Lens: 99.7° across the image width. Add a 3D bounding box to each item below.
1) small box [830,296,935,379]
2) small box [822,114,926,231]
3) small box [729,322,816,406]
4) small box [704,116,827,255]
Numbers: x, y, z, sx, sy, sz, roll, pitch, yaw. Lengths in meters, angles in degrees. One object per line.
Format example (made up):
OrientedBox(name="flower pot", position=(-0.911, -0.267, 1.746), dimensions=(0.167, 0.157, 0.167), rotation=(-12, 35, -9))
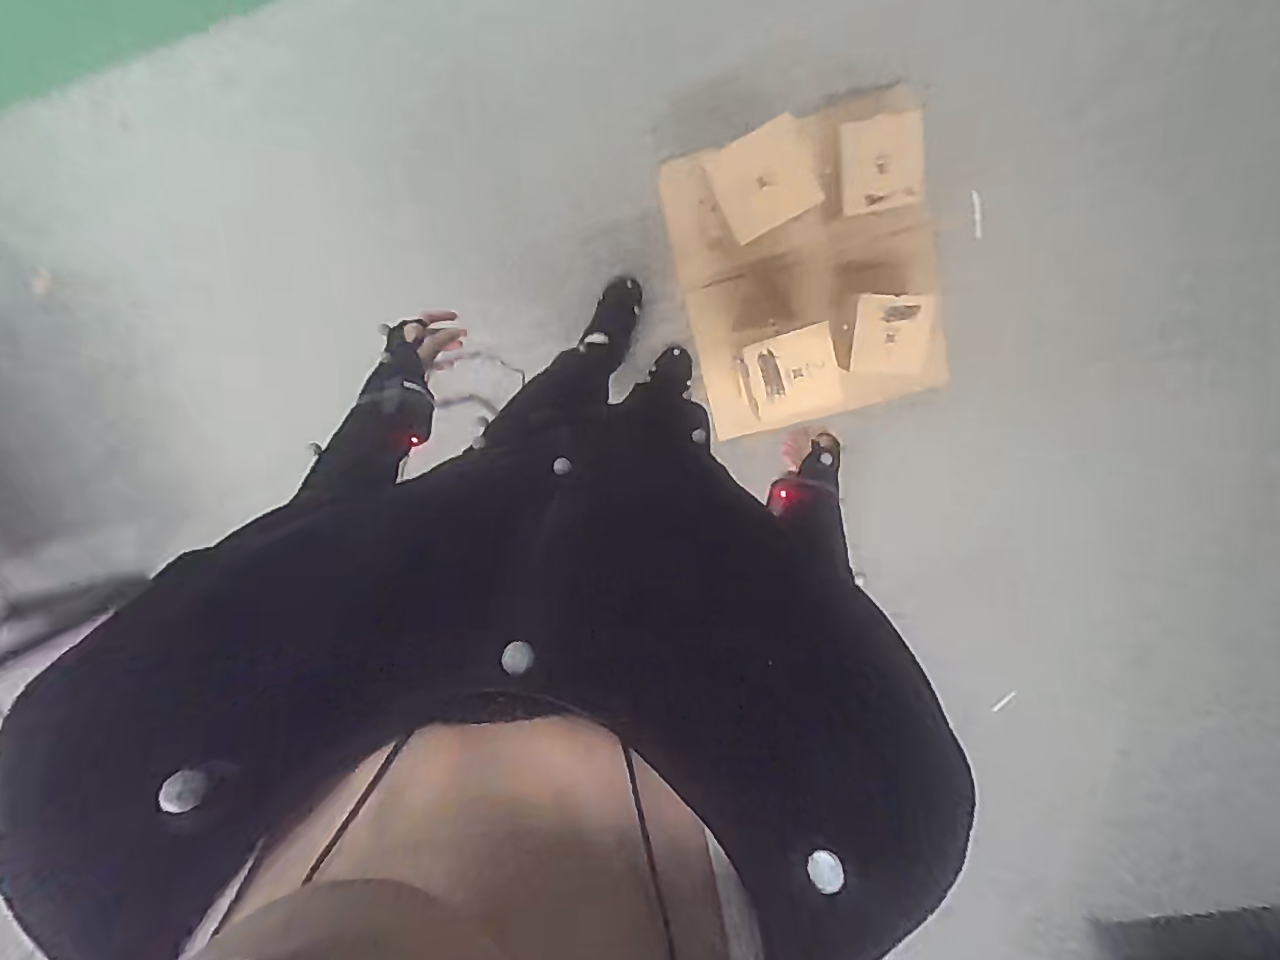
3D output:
OrientedBox(name="small box", position=(0.563, -0.340, 1.281), dimensions=(0.168, 0.176, 0.179), rotation=(2, 109, 3))
OrientedBox(name="small box", position=(0.505, -0.662, 1.183), dimensions=(0.168, 0.176, 0.179), rotation=(-7, 107, 5))
OrientedBox(name="small box", position=(0.315, -0.285, 1.316), dimensions=(0.179, 0.176, 0.168), rotation=(-9, 107, 6))
OrientedBox(name="small box", position=(0.236, -0.564, 1.061), dimensions=(0.179, 0.176, 0.168), rotation=(-25, 104, 11))
